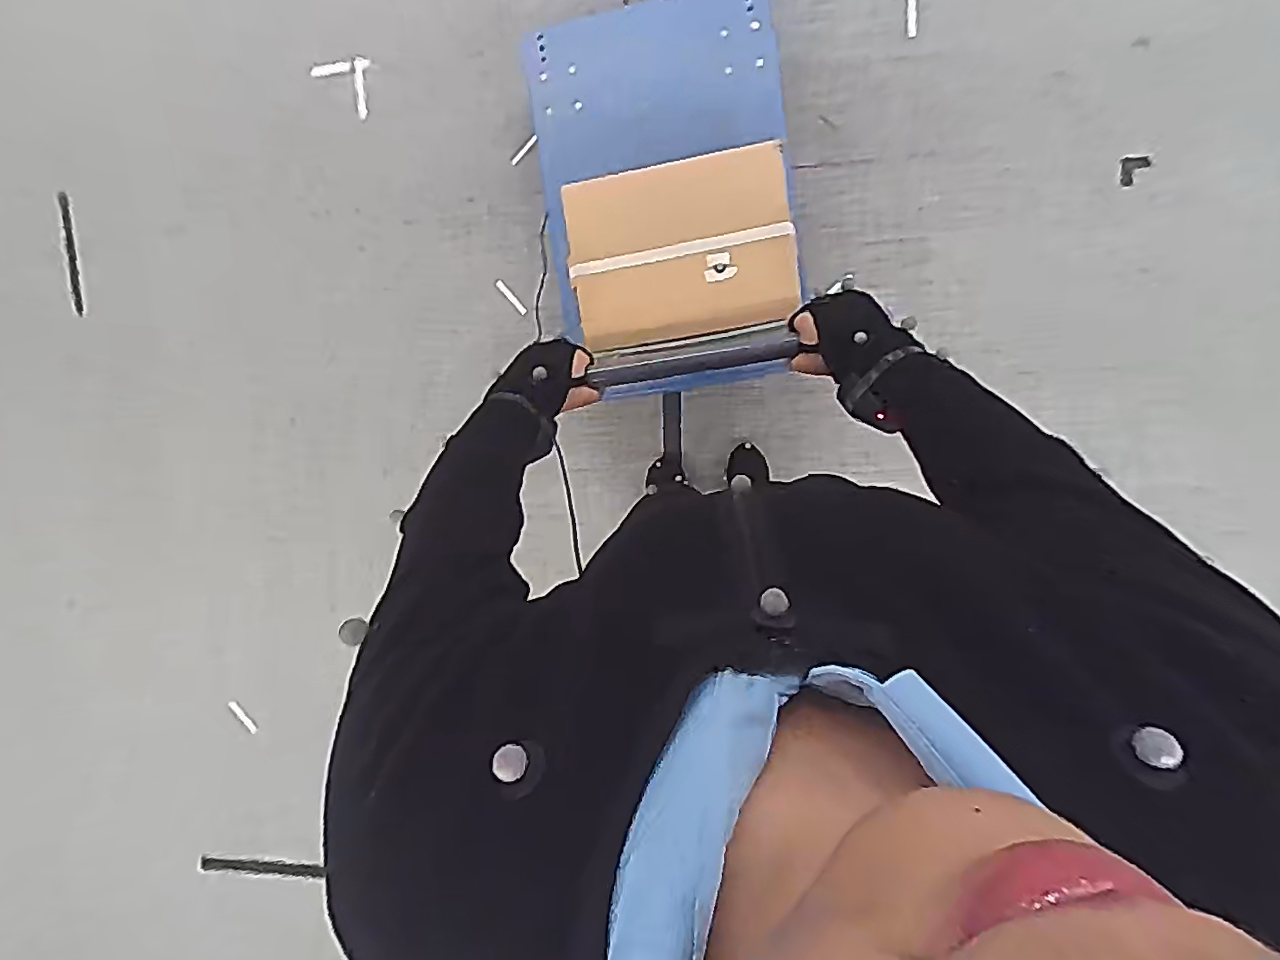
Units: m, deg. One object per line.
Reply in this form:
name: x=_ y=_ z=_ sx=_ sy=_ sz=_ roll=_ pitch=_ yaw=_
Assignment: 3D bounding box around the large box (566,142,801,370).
large box: x=0.092 y=-0.438 z=1.151 sx=0.408 sy=0.320 sz=0.320 roll=-9 pitch=95 yaw=7
